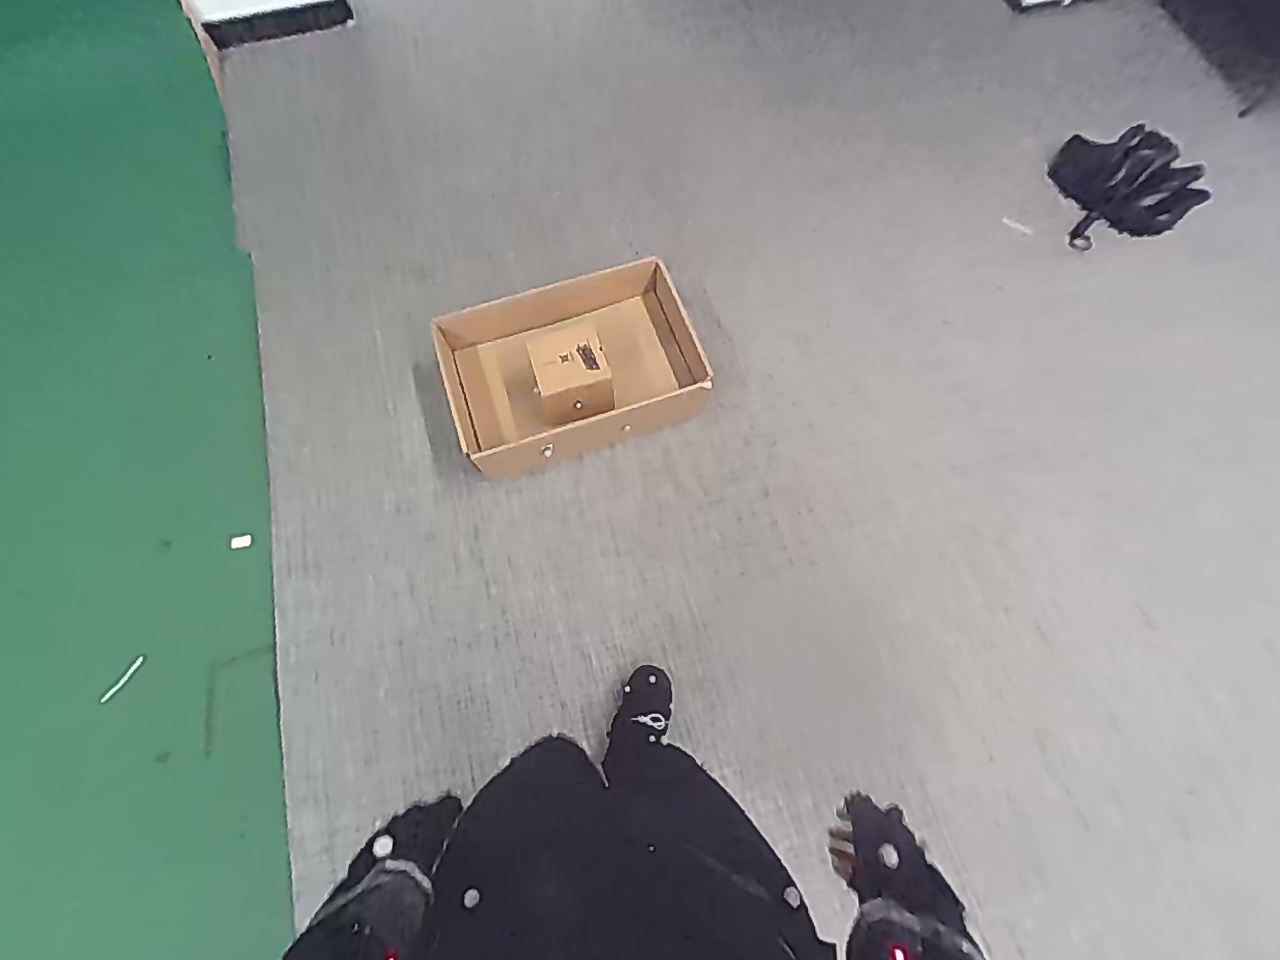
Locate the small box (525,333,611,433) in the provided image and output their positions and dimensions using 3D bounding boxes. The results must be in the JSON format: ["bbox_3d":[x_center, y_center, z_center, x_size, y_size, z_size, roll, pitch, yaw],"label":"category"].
[{"bbox_3d":[-0.178,-0.242,1.381,0.179,0.176,0.168,-17,70,-6],"label":"small box"}]
